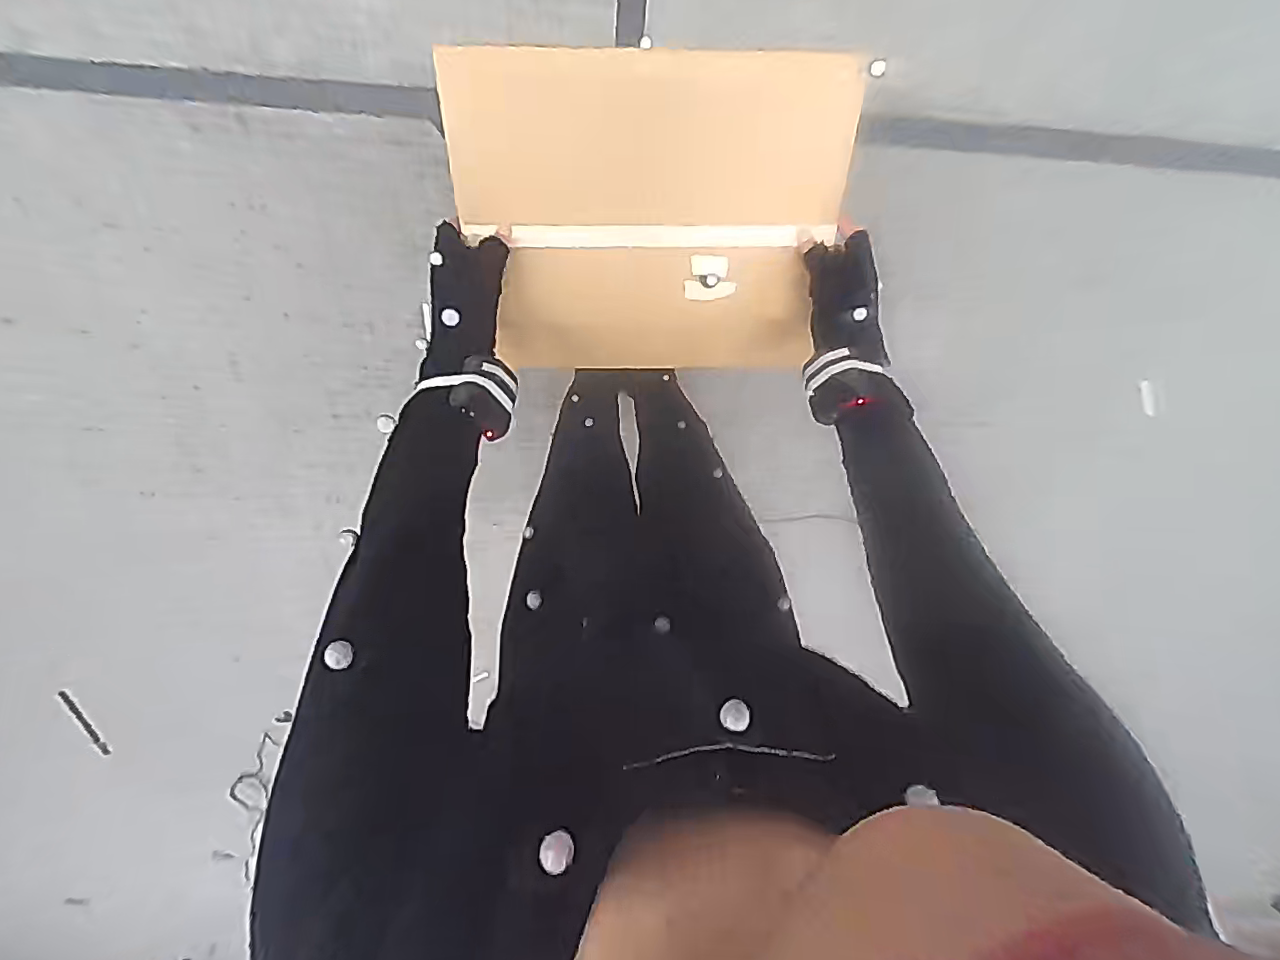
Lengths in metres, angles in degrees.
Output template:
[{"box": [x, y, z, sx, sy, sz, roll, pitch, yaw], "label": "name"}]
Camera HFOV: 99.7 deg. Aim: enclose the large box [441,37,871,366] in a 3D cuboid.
[{"box": [0.009, -0.357, 0.698, 0.408, 0.320, 0.320, -2, 126, -3], "label": "large box"}]
